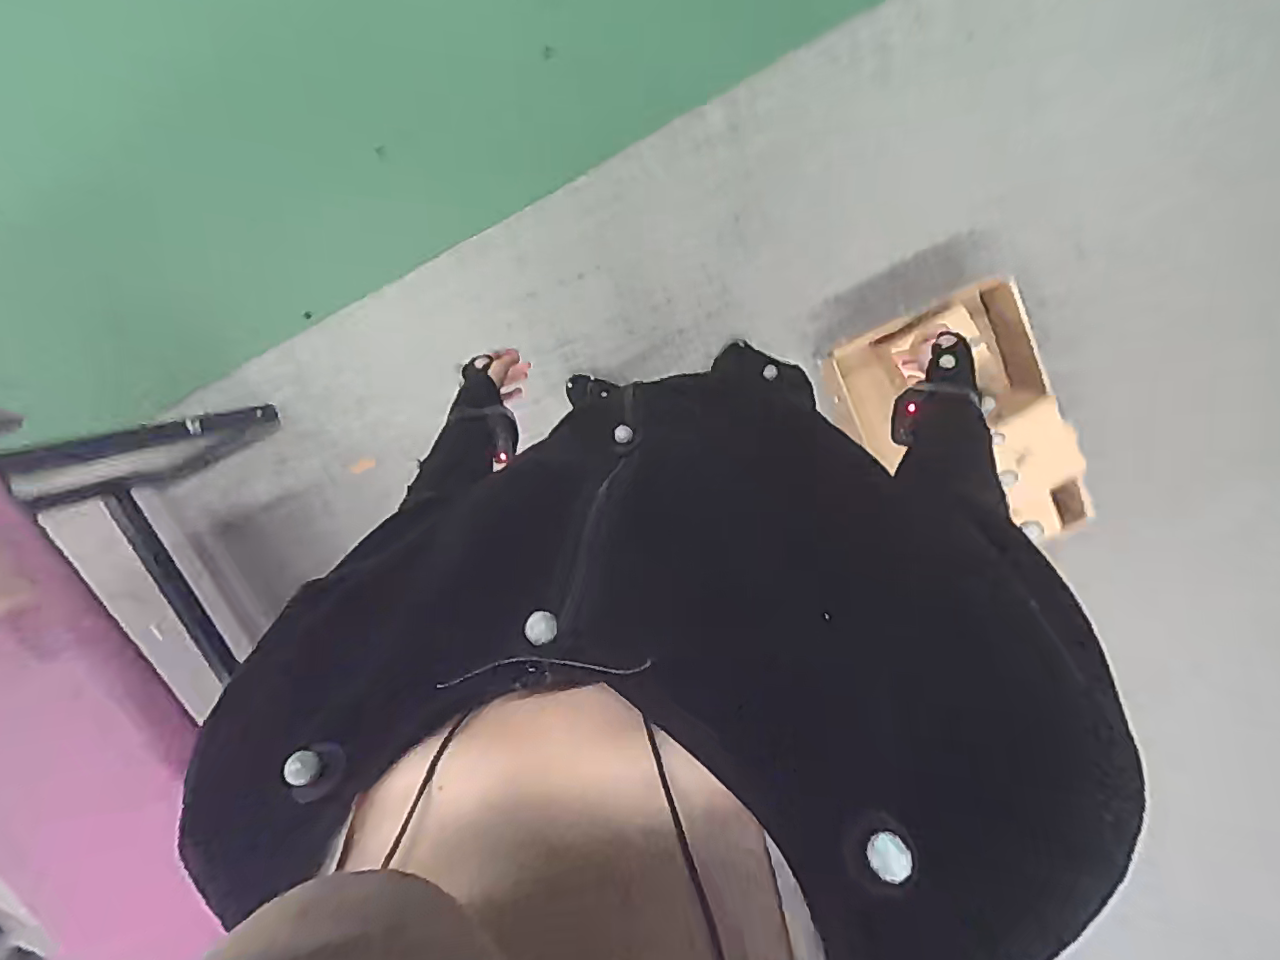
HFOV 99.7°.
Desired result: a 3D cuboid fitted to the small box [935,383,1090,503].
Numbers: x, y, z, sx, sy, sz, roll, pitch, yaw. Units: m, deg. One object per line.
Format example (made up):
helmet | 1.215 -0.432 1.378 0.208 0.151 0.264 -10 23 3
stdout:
small box | 0.752 -0.084 1.112 0.179 0.176 0.168 -33 99 15
